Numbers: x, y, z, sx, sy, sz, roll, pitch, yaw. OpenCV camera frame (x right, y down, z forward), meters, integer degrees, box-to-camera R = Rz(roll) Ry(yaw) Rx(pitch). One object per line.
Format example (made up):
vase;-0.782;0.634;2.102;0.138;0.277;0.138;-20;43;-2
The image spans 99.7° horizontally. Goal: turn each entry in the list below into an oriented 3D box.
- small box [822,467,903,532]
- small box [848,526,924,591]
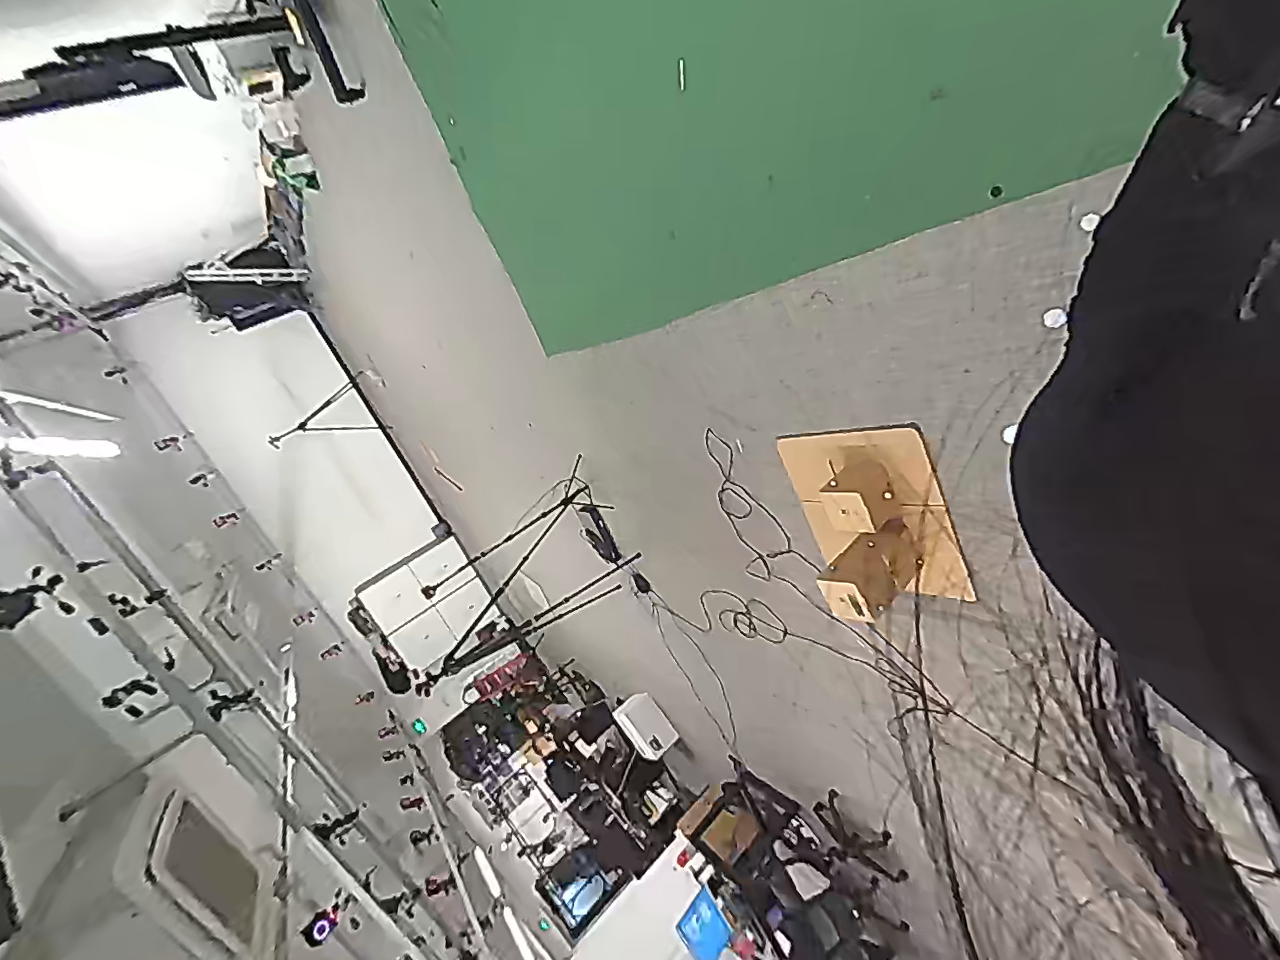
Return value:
small box;0.786;0.063;1.906;0.179;0.176;0.168;-1;121;58
small box;0.900;0.279;1.963;0.179;0.176;0.168;-8;114;61
